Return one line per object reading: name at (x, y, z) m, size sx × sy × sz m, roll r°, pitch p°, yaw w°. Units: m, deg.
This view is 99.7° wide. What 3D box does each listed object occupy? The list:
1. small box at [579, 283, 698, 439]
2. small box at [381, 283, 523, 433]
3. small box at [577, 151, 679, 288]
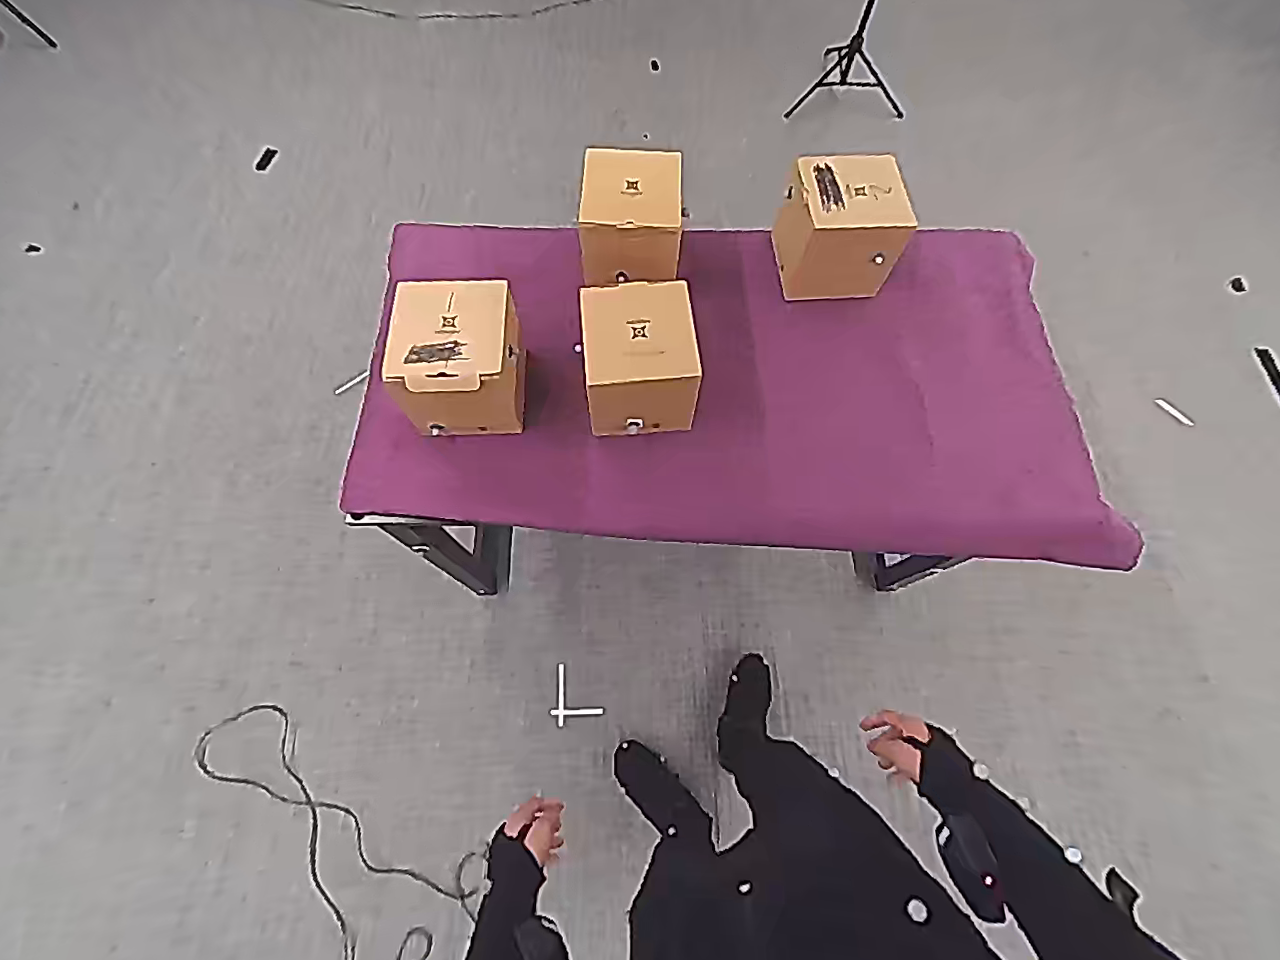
small box at (-0.007, -0.184, 0.861) m, size 0.168 × 0.176 × 0.179 m, roll -5°, pitch 68°, yaw -3°
small box at (-0.281, -0.183, 0.852) m, size 0.168 × 0.176 × 0.179 m, roll -2°, pitch 66°, yaw -3°
small box at (-0.020, -0.447, 0.964) m, size 0.168 × 0.176 × 0.179 m, roll 2°, pitch 68°, yaw -1°
